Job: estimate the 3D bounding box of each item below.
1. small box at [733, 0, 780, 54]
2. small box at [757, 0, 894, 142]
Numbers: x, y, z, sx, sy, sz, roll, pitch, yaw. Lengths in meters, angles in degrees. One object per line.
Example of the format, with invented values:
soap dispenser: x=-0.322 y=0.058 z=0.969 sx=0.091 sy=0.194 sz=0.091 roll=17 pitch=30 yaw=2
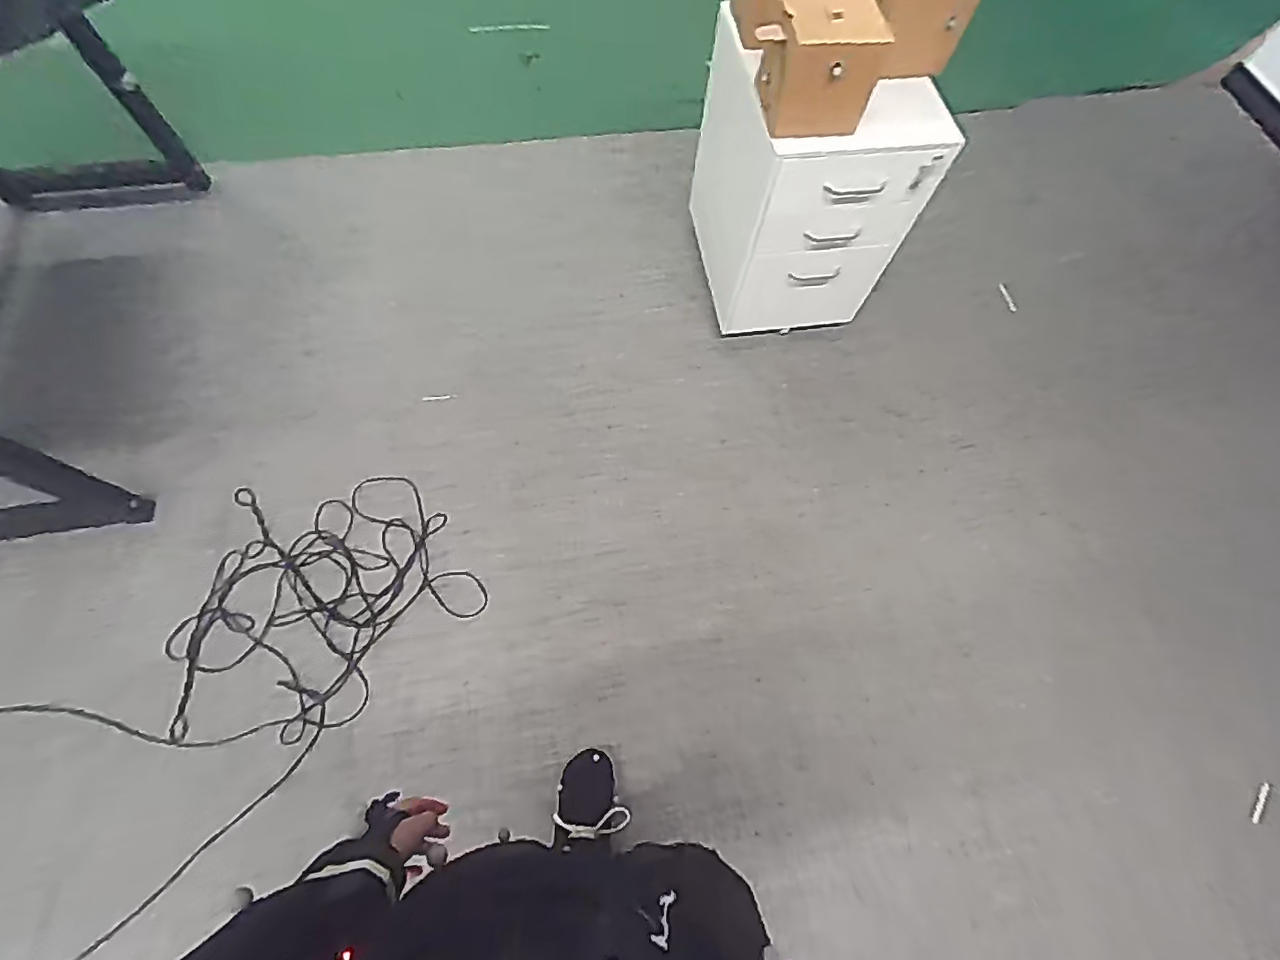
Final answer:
small box: x=0.302 y=-1.027 z=1.130 sx=0.179 sy=0.176 sz=0.168 roll=-6 pitch=69 yaw=-7
small box: x=0.340 y=-0.775 z=1.025 sx=0.179 sy=0.176 sz=0.168 roll=-6 pitch=68 yaw=-6
